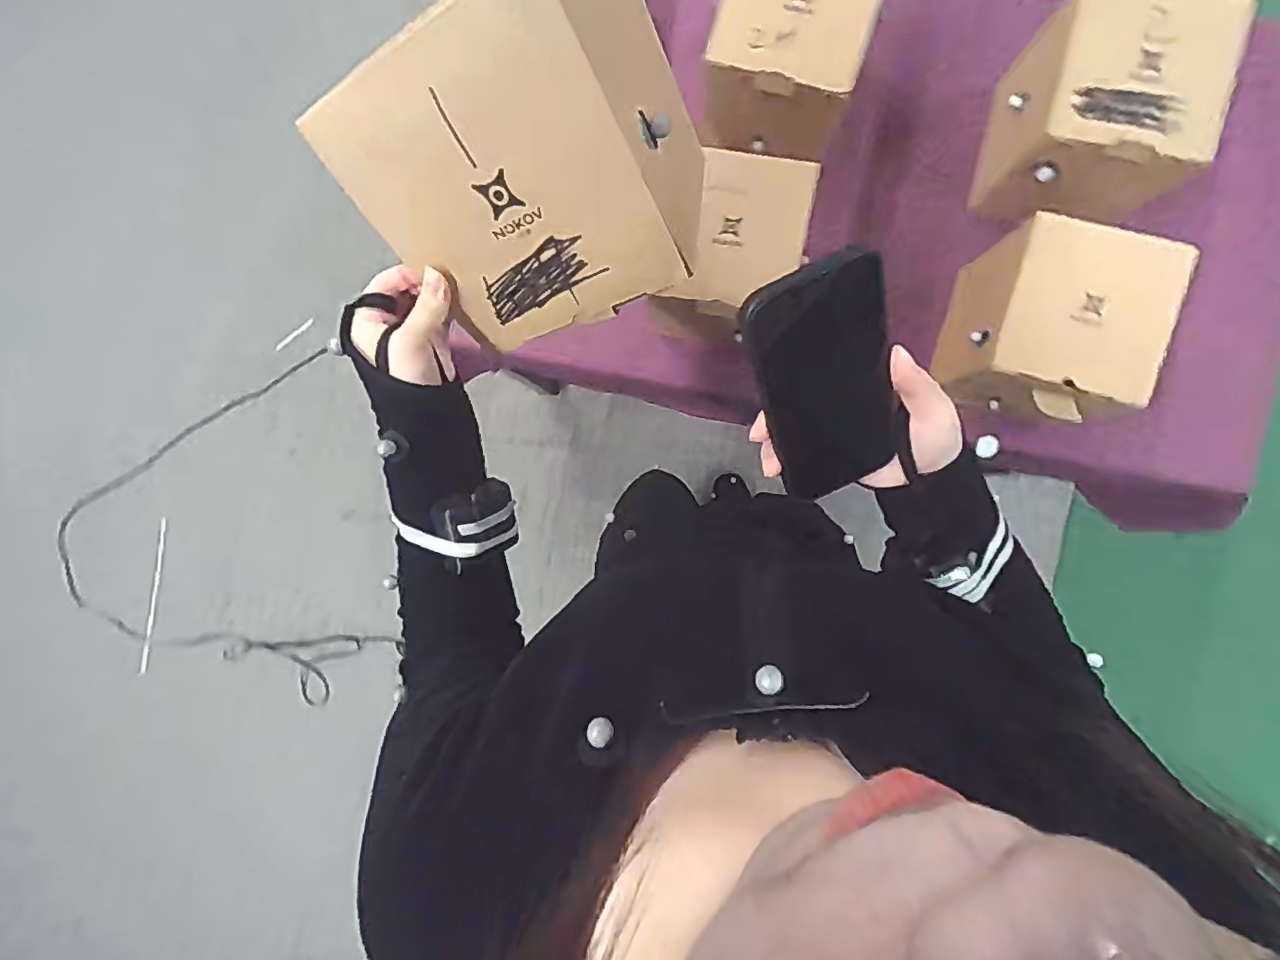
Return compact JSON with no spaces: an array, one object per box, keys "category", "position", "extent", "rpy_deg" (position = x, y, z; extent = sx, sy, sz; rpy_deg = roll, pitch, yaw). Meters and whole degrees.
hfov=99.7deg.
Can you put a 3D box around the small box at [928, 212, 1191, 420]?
[{"category":"small box","position":[0.480,-0.182,0.651],"extent":[0.168,0.176,0.179],"rpy_deg":[16,93,5]}]

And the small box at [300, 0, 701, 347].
[{"category":"small box","position":[-0.067,-0.227,0.366],"extent":[0.168,0.179,0.176],"rpy_deg":[-11,49,27]}]

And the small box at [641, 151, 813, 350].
[{"category":"small box","position":[0.104,-0.276,0.685],"extent":[0.168,0.176,0.179],"rpy_deg":[11,91,4]}]

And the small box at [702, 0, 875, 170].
[{"category":"small box","position":[0.176,-0.523,0.674],"extent":[0.168,0.176,0.179],"rpy_deg":[18,93,5]}]
